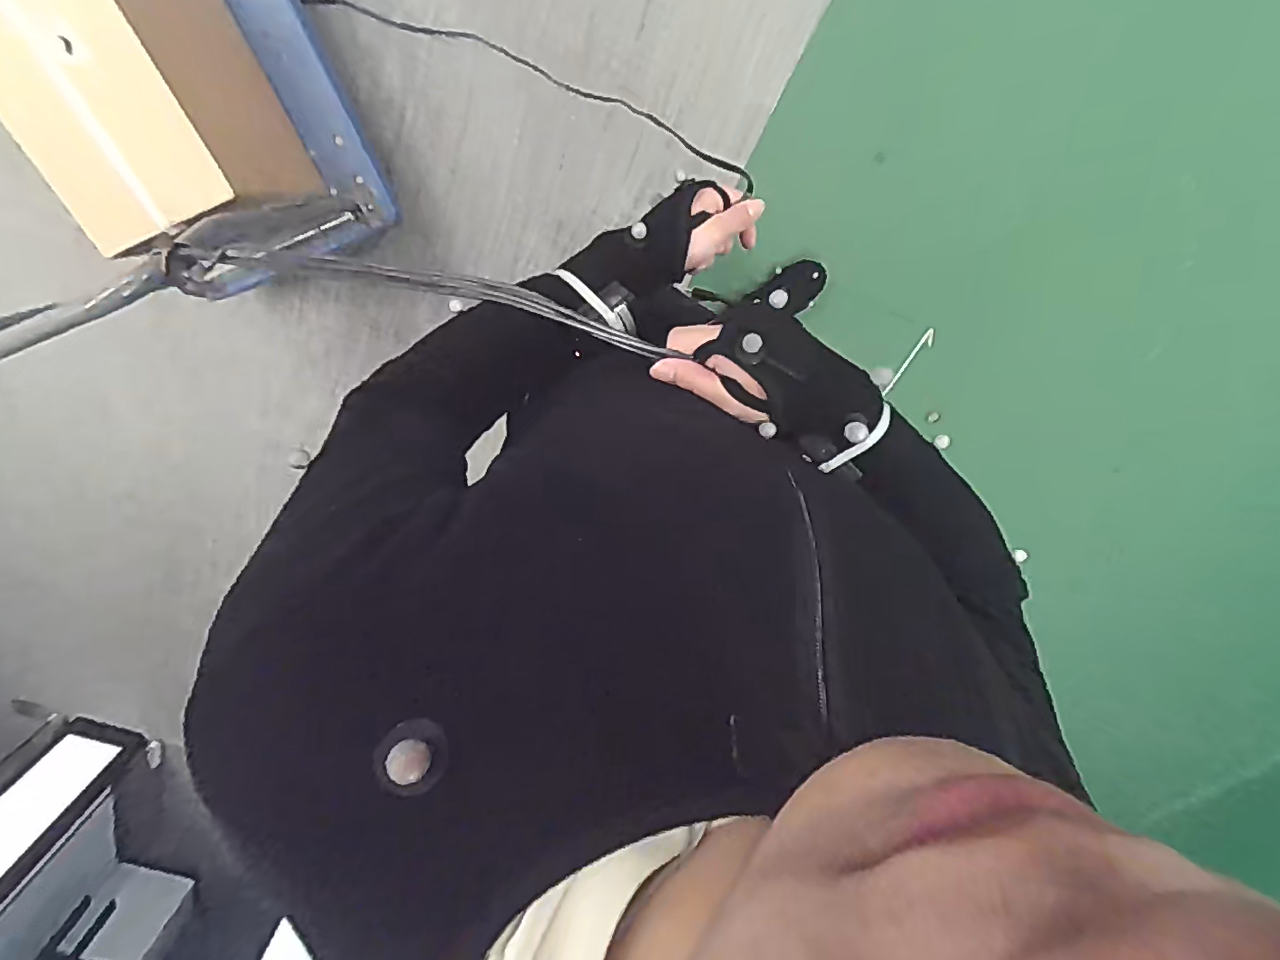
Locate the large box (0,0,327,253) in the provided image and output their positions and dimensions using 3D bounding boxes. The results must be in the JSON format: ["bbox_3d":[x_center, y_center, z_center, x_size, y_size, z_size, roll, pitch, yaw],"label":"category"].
[{"bbox_3d":[-0.908,-0.699,1.024,0.320,0.320,0.408,-17,116,11],"label":"large box"}]
